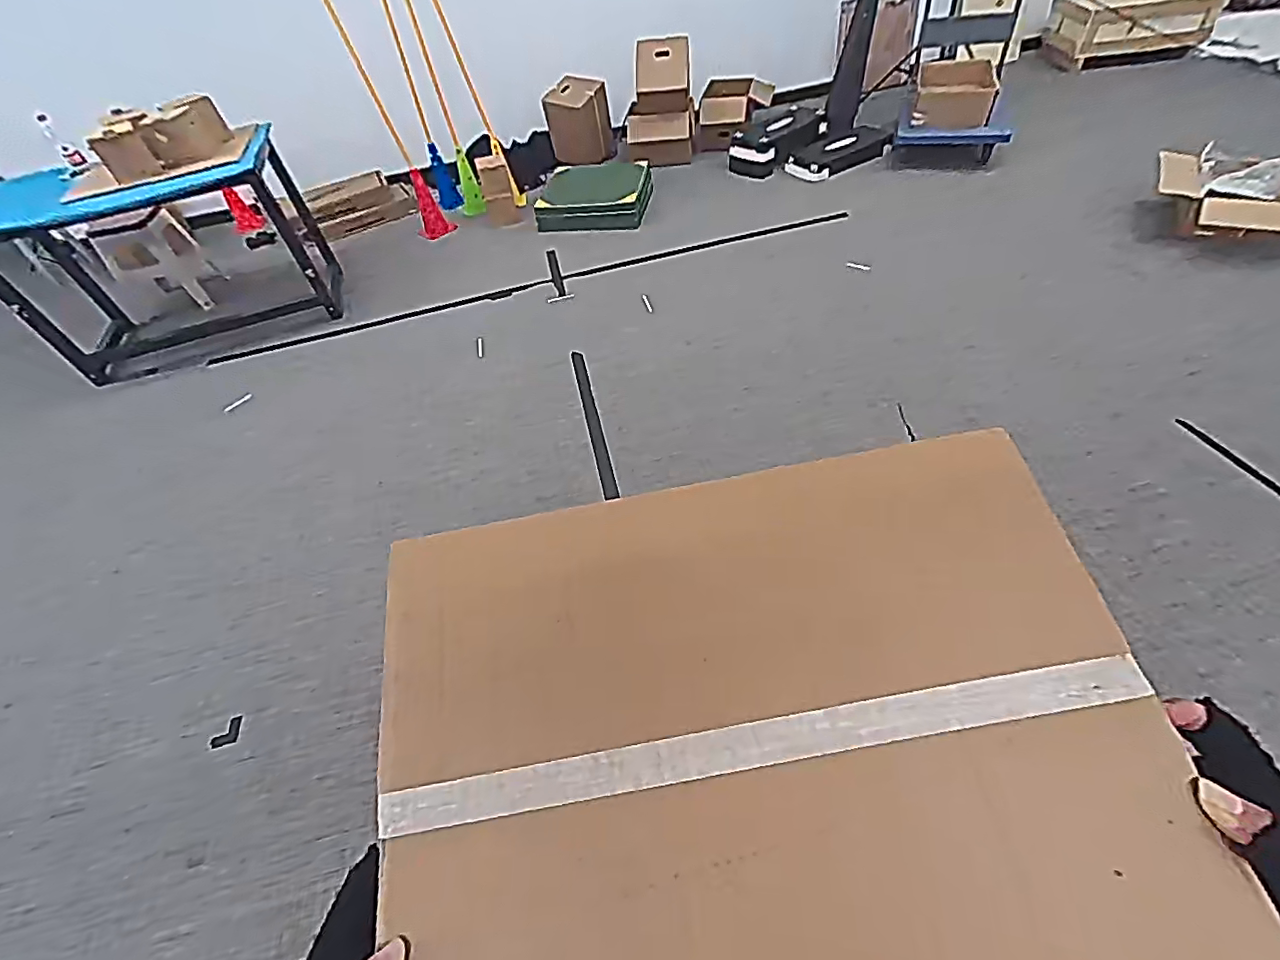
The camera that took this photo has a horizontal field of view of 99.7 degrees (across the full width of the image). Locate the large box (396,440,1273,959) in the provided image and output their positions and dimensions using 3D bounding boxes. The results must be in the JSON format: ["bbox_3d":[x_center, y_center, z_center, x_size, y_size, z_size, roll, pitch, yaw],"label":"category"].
[{"bbox_3d":[0.077,0.211,0.426,0.408,0.320,0.320,-11,64,1],"label":"large box"}]
